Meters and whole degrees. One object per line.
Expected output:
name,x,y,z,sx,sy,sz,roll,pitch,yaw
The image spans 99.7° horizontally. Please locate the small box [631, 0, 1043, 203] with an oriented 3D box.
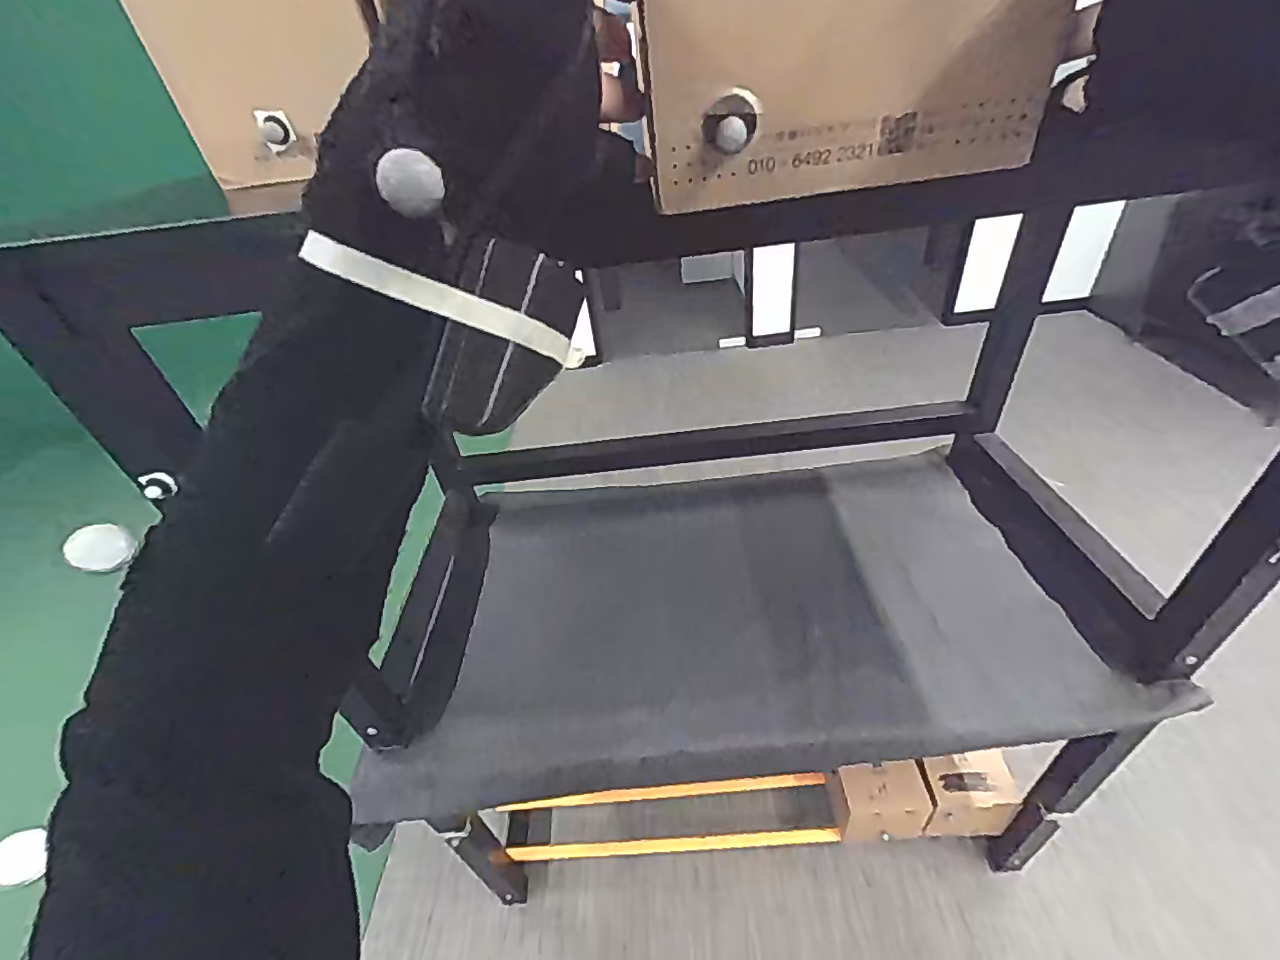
small box,0.078,-0.246,0.263,0.168,0.176,0.179,-6,40,3
